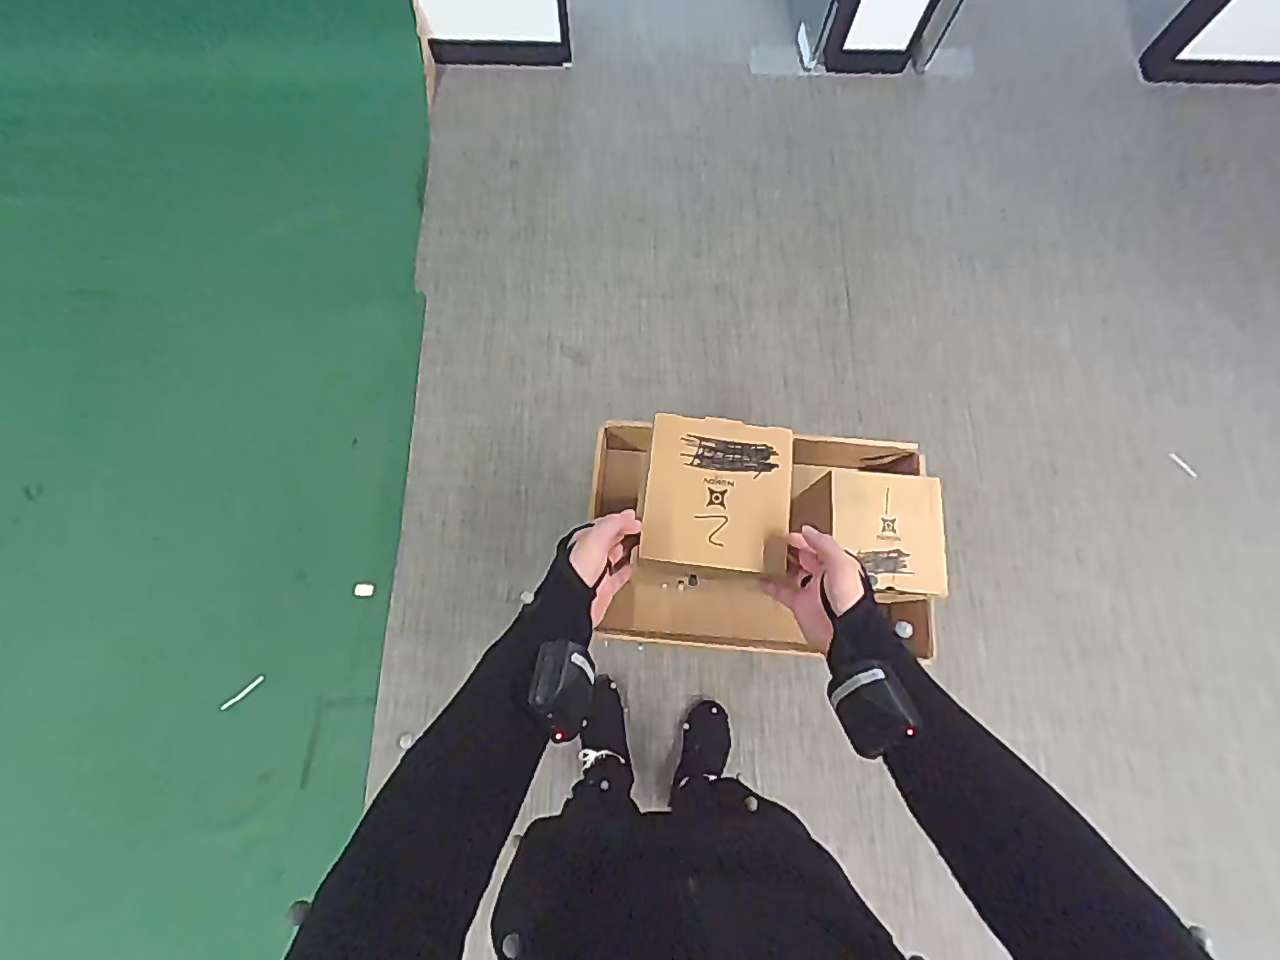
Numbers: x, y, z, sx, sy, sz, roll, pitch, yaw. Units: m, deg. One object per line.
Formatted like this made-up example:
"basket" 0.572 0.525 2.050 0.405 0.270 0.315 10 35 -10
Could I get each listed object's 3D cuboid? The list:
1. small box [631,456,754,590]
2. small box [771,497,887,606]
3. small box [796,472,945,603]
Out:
"small box" 0.076 0.077 0.851 0.168 0.176 0.179 6 75 0
"small box" 0.348 0.141 1.012 0.168 0.176 0.179 5 75 0
"small box" 0.353 0.098 0.854 0.168 0.176 0.179 5 75 0
